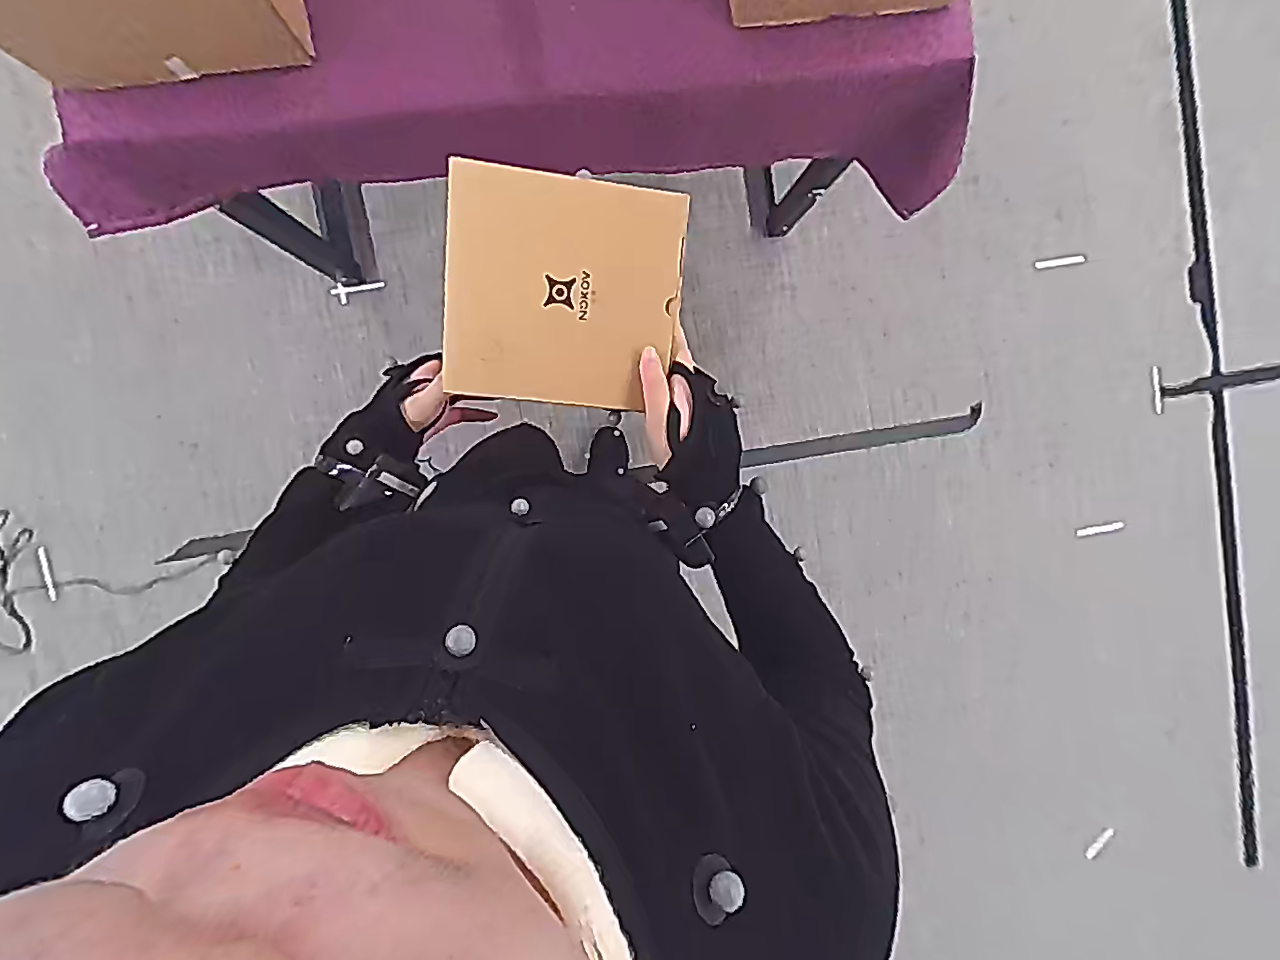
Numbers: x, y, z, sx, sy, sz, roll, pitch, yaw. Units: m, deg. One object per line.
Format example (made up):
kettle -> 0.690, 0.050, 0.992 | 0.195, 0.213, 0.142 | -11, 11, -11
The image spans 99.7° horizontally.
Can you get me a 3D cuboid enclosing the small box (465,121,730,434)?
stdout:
small box -> -0.043, -0.142, 0.447 | 0.168, 0.176, 0.179 | -1, 82, -28
